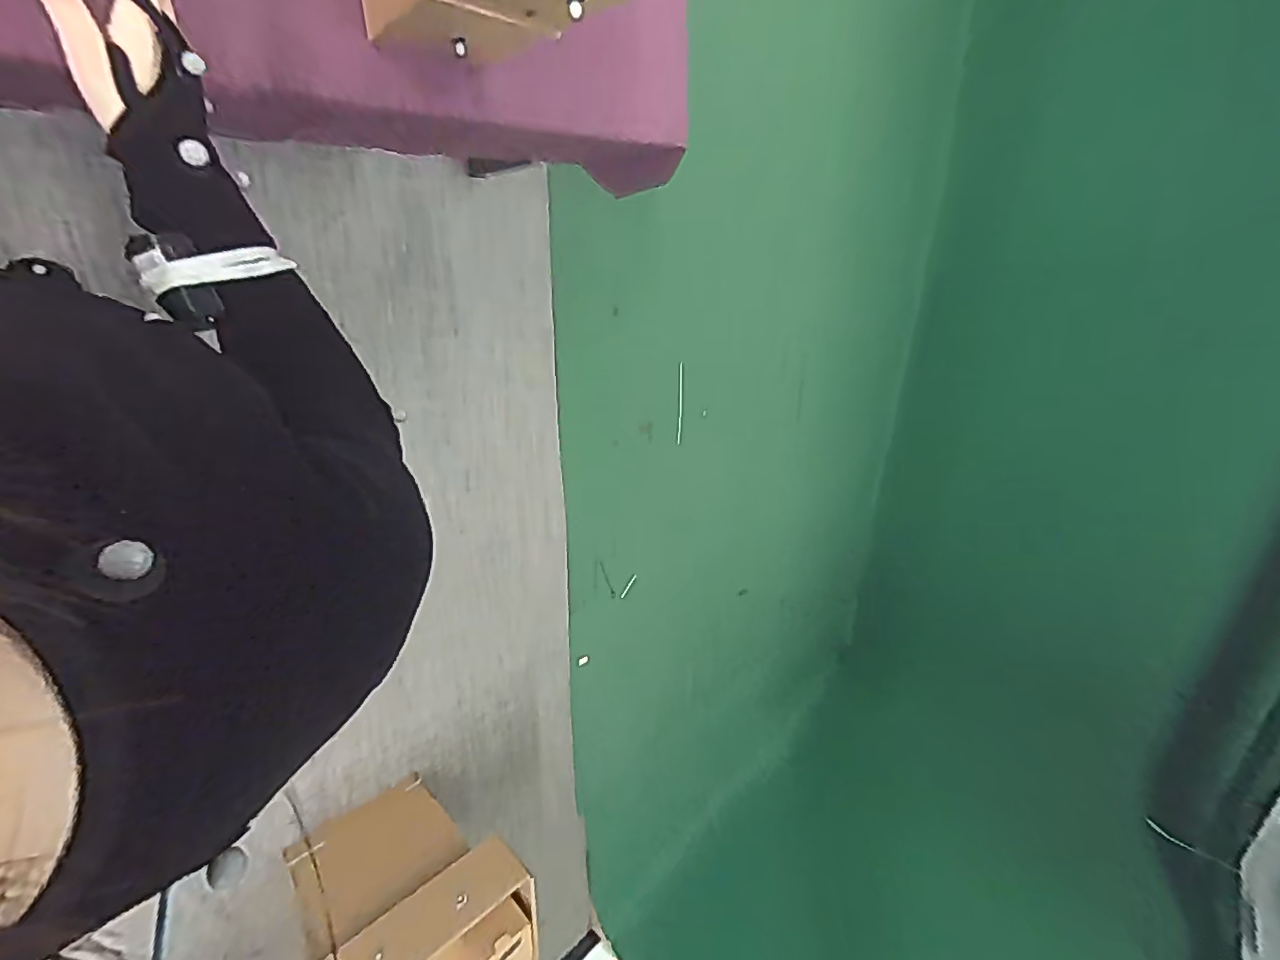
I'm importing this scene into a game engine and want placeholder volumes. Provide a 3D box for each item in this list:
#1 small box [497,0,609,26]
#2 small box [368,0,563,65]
[{"bbox_3d":[-0.092,-0.565,0.499,0.168,0.176,0.179,-19,118,-41],"label":"small box"},{"bbox_3d":[-0.206,-0.603,0.610,0.168,0.176,0.179,-21,119,-40],"label":"small box"}]
